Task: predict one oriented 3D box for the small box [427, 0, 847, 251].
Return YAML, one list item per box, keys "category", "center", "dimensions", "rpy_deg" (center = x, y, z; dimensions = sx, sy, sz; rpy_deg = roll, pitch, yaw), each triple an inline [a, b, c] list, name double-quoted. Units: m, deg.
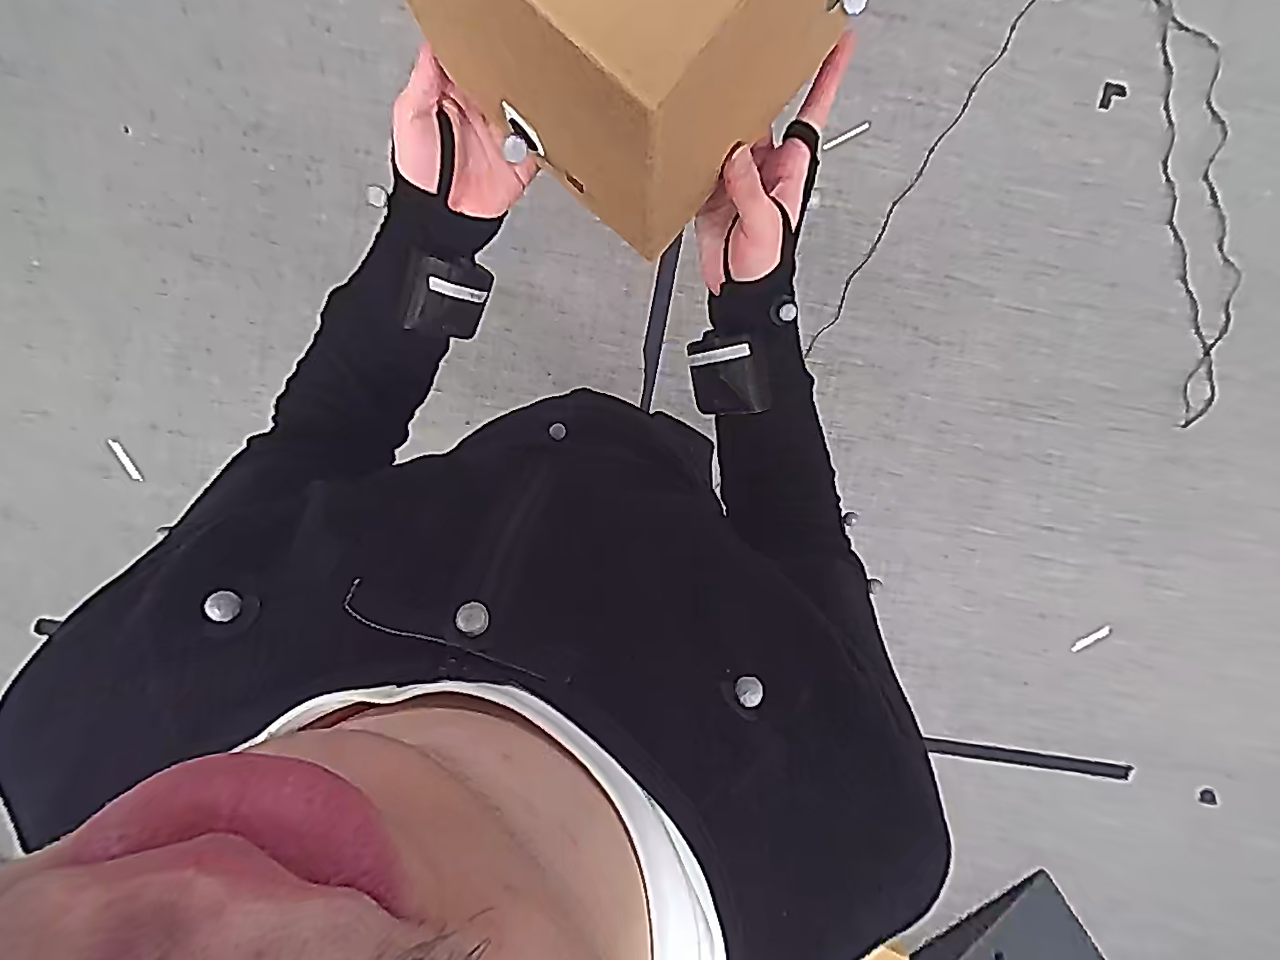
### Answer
- category: "small box"
  center: [0.002, -0.254, 0.265]
  dimensions: [0.168, 0.176, 0.179]
  rpy_deg: [40, 94, -2]
